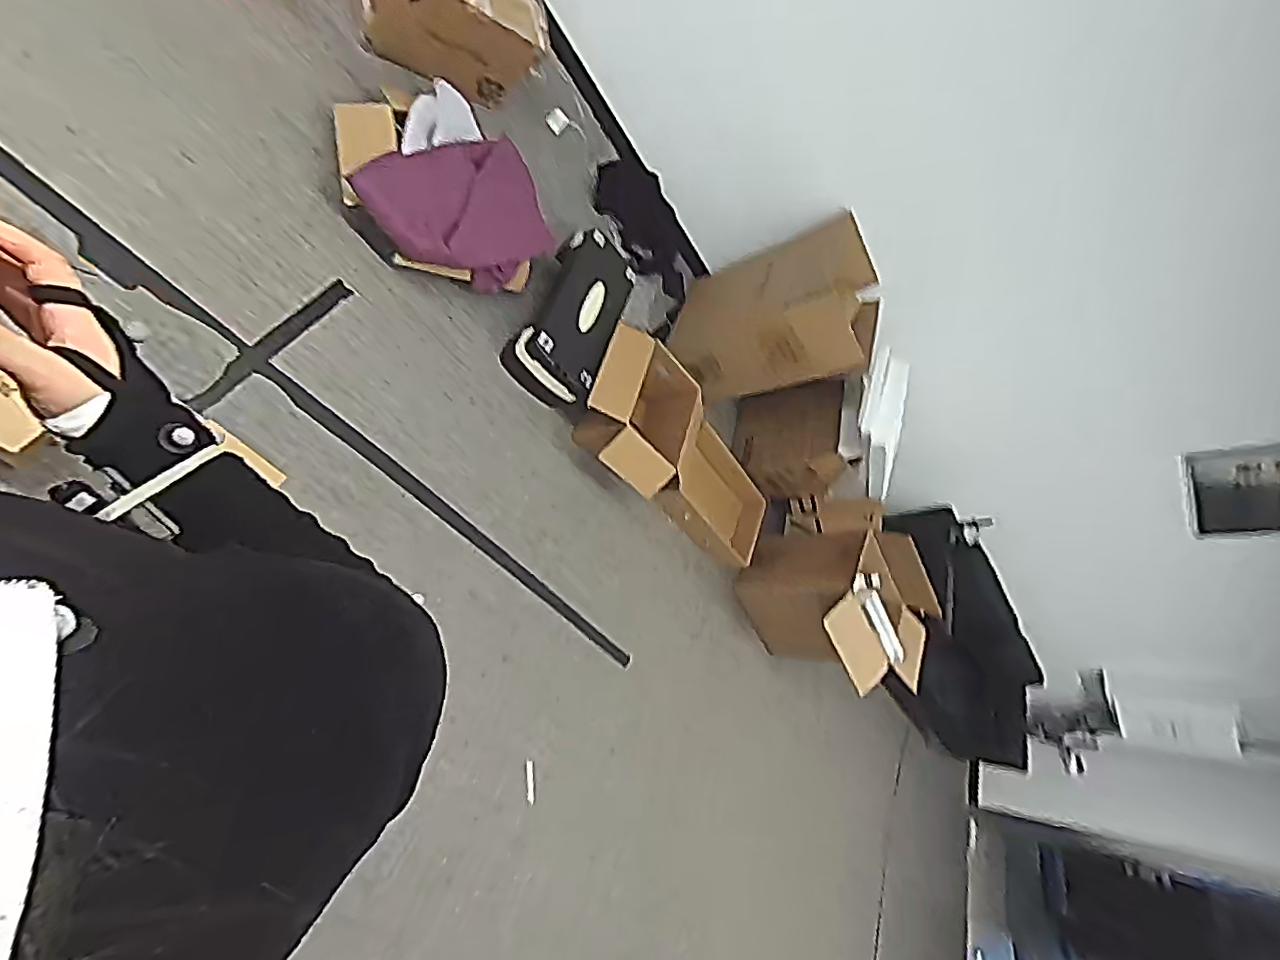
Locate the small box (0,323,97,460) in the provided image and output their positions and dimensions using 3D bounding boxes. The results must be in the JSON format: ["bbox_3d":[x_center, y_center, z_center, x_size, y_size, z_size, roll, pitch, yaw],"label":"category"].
[{"bbox_3d":[-1.150,-0.154,0.974,0.179,0.176,0.168,47,51,-31],"label":"small box"}]

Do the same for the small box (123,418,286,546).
[{"bbox_3d":[-0.839,0.009,1.039,0.168,0.176,0.179,50,50,-29],"label":"small box"}]
